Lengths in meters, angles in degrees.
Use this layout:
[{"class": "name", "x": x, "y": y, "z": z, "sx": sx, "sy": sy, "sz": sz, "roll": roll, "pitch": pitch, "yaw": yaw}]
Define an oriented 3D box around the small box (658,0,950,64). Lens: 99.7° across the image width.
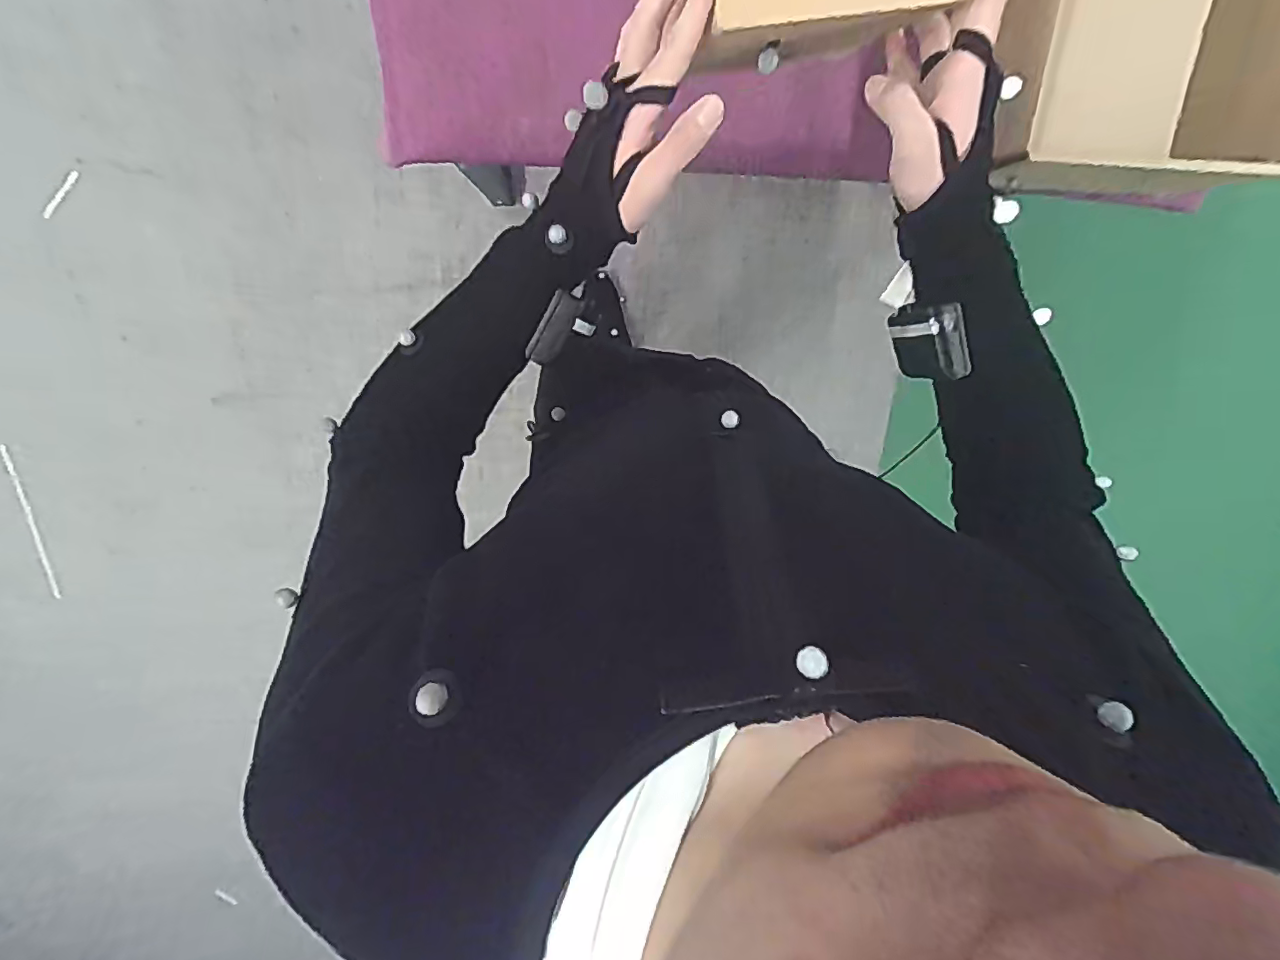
[{"class": "small box", "x": 0.101, "y": -0.395, "z": 0.353, "sx": 0.168, "sy": 0.176, "sz": 0.179, "roll": -11, "pitch": 119, "yaw": -4}]
